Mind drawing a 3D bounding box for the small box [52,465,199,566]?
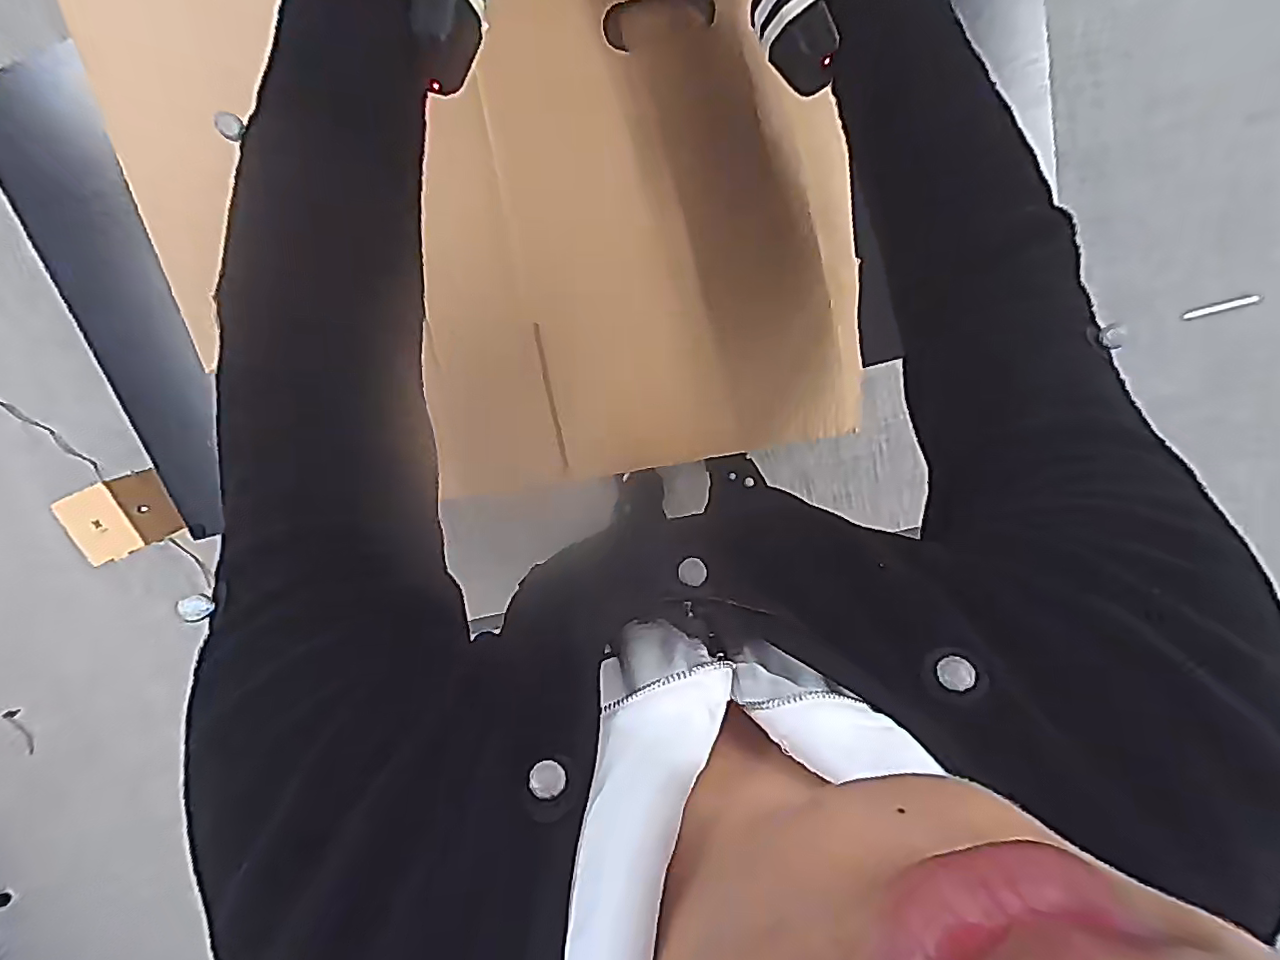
[{"bbox_3d":[-1.279,0.084,1.360,0.168,0.176,0.179,-21,103,9],"label":"small box"}]

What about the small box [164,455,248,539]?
[{"bbox_3d":[-1.264,0.041,1.516,0.168,0.176,0.179,-18,106,10],"label":"small box"}]
